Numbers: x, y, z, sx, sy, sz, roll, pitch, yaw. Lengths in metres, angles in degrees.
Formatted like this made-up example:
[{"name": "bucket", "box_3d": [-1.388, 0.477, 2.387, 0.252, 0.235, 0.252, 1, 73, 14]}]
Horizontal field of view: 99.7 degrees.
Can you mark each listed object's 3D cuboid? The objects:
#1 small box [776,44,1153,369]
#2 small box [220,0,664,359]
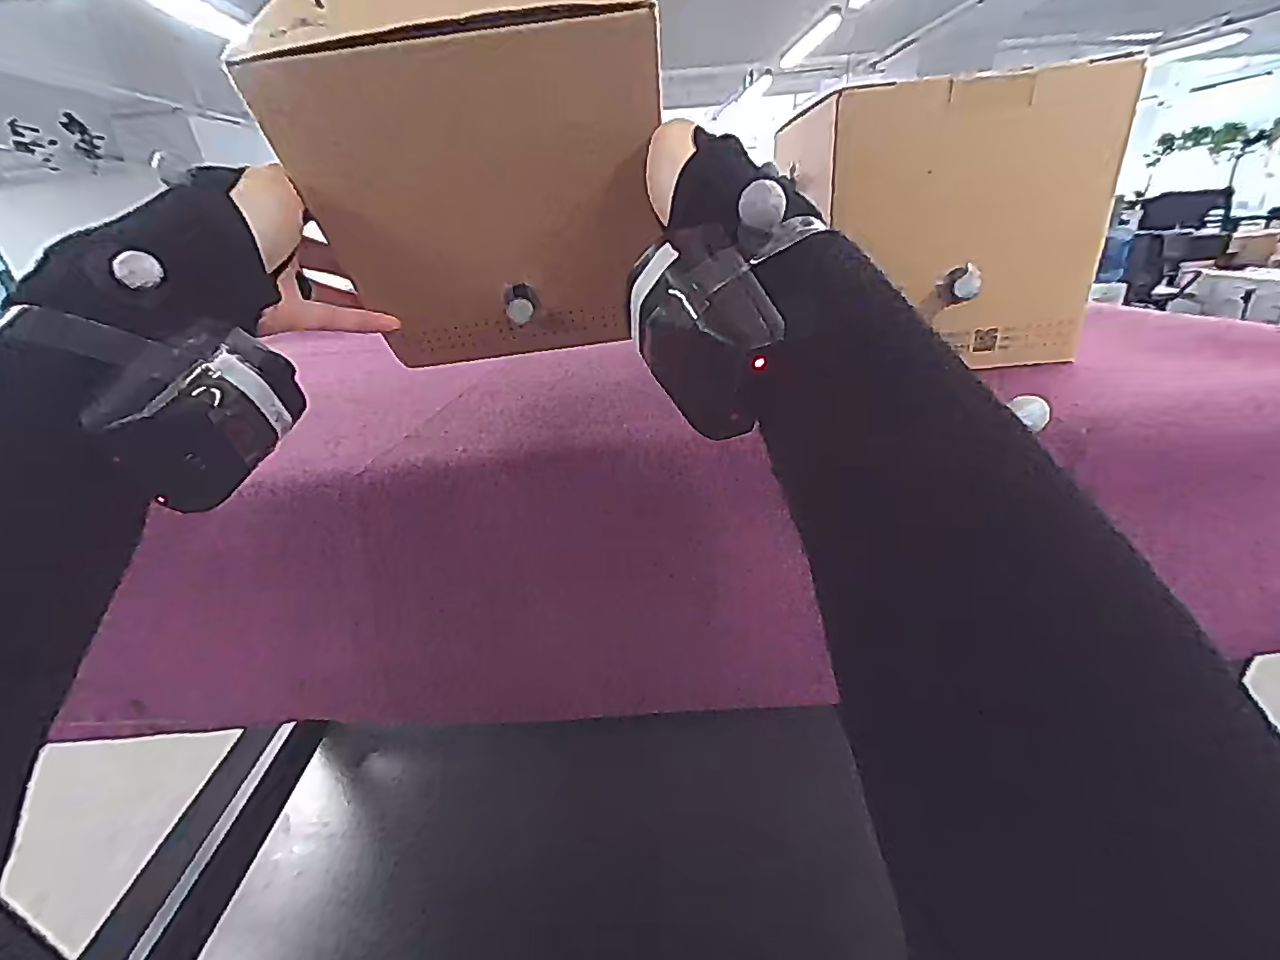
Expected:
[{"name": "small box", "box_3d": [0.198, -0.185, 0.397, 0.168, 0.176, 0.179, -4, 26, 4]}, {"name": "small box", "box_3d": [-0.081, -0.193, 0.322, 0.179, 0.176, 0.168, -7, 52, -1]}]
